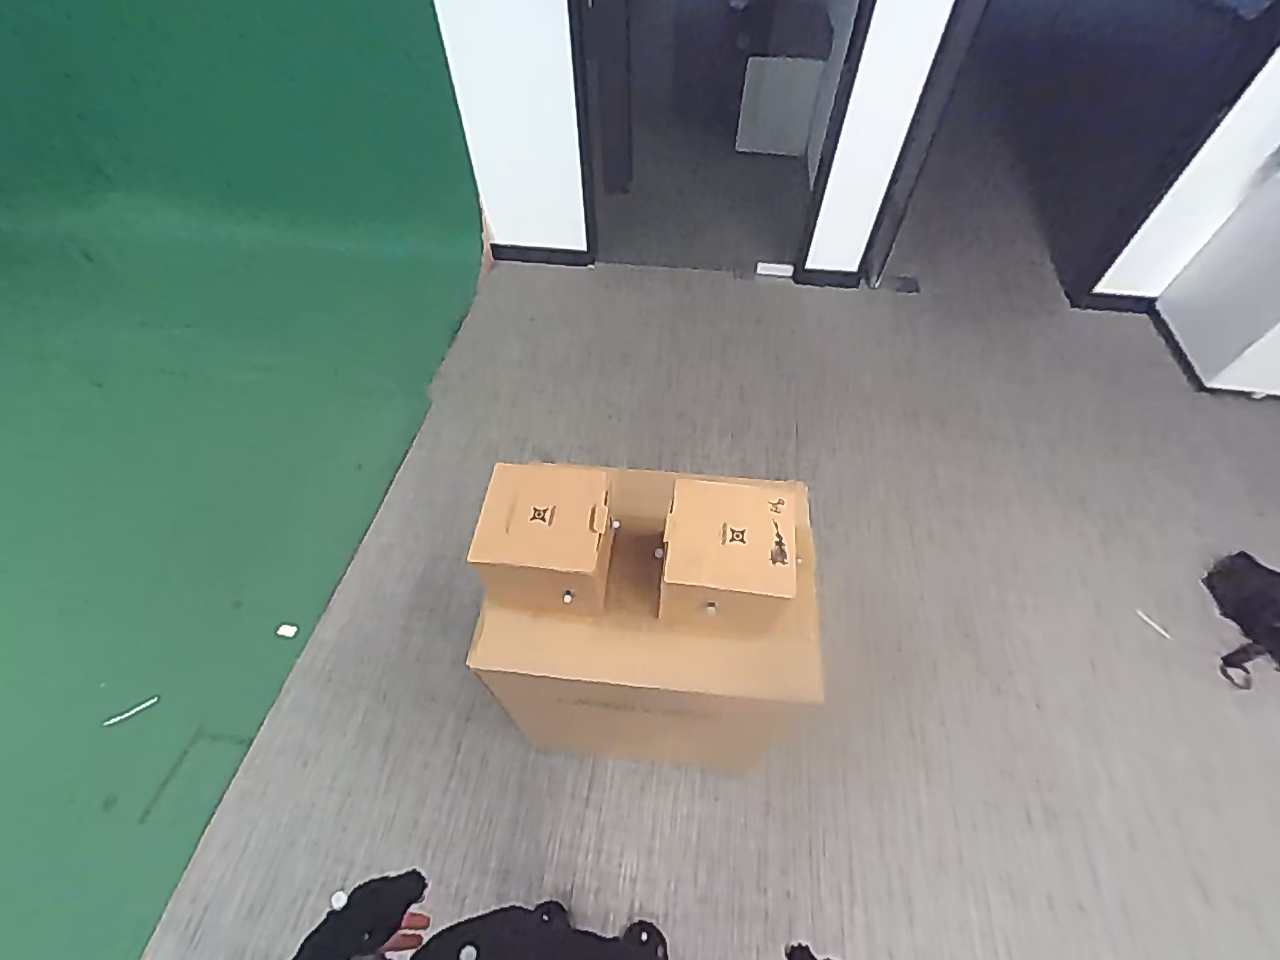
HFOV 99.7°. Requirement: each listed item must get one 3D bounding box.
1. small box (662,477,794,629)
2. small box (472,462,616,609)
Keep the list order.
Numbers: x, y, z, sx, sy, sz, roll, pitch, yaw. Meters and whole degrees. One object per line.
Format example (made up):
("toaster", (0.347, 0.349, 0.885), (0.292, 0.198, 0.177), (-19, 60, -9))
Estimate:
("small box", (0.128, 0.115, 0.818), (0.179, 0.176, 0.168), (6, 58, 5))
("small box", (-0.132, 0.091, 0.835), (0.179, 0.176, 0.168), (4, 56, 4))
